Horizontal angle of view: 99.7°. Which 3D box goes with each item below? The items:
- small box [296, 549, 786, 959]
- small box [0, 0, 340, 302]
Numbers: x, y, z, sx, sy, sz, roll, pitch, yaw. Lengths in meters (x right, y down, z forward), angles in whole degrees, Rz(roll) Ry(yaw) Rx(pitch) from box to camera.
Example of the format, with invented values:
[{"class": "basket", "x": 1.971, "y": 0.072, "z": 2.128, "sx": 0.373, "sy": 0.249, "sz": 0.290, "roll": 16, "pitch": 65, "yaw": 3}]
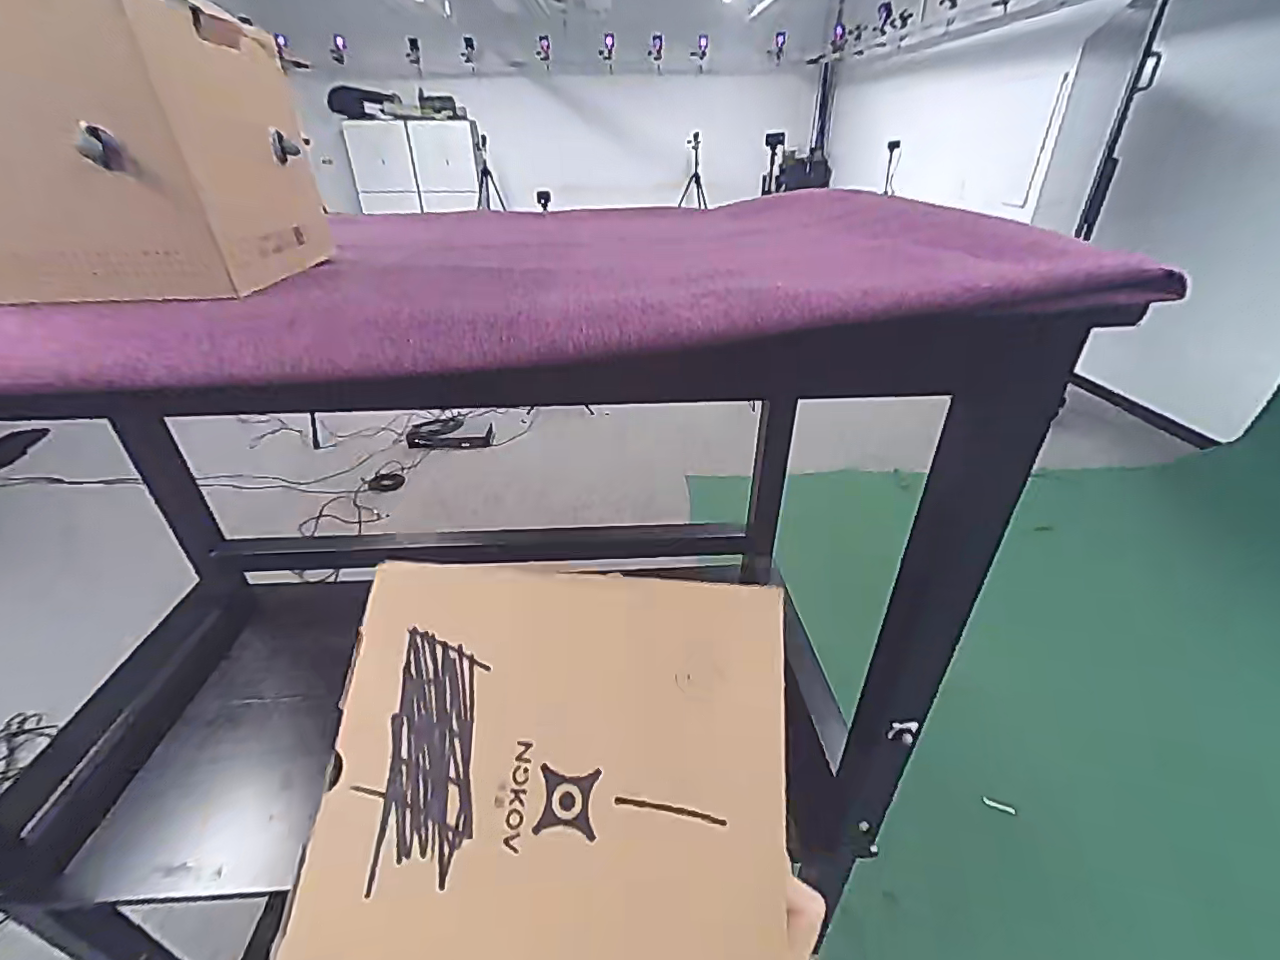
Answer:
[{"class": "small box", "x": -0.025, "y": 0.144, "z": 0.287, "sx": 0.179, "sy": 0.176, "sz": 0.168, "roll": 4, "pitch": 68, "yaw": 5}, {"class": "small box", "x": -0.357, "y": -0.236, "z": 0.401, "sx": 0.179, "sy": 0.176, "sz": 0.168, "roll": -3, "pitch": 31, "yaw": -3}]
